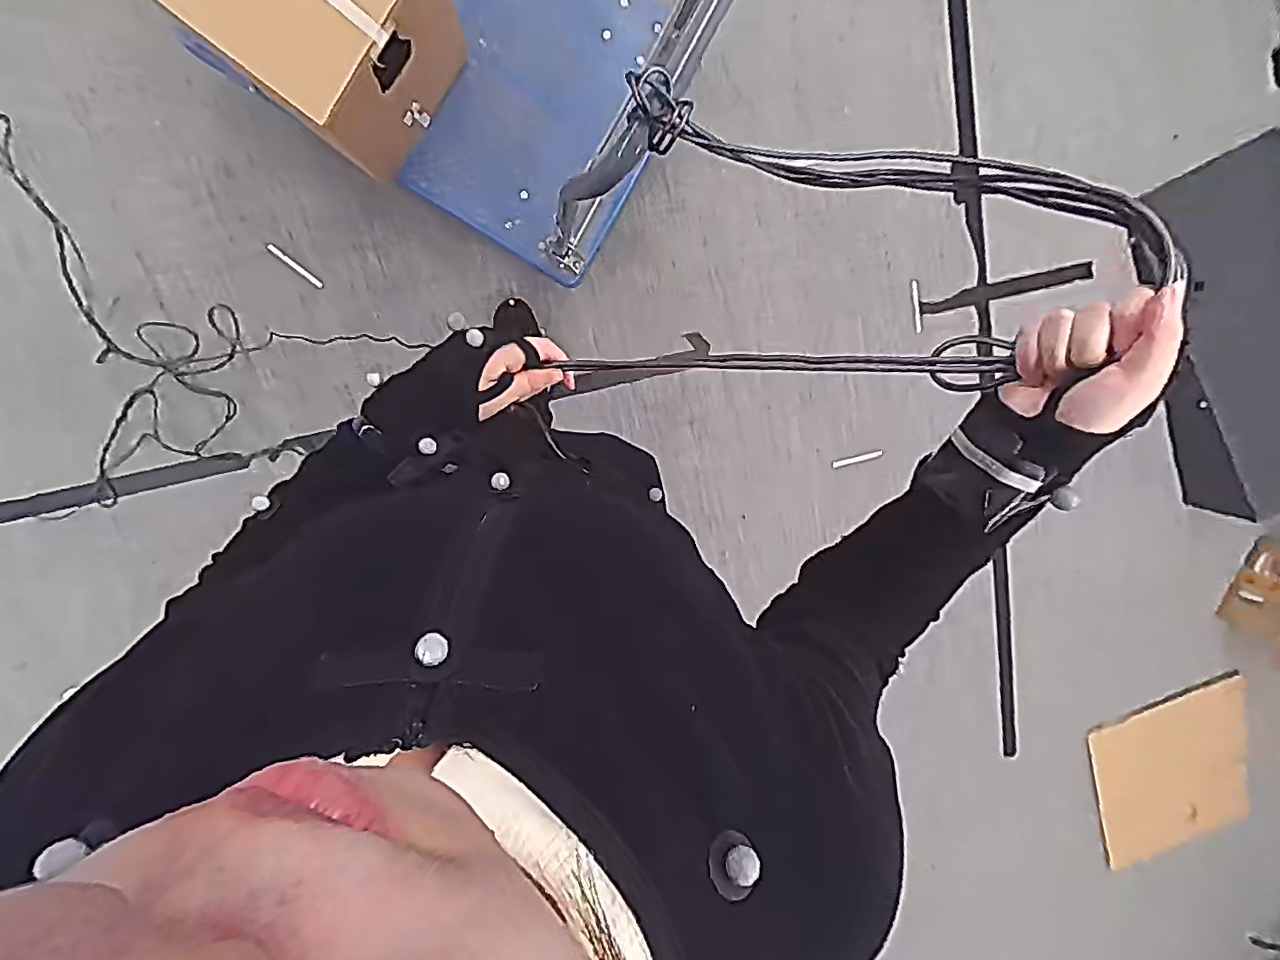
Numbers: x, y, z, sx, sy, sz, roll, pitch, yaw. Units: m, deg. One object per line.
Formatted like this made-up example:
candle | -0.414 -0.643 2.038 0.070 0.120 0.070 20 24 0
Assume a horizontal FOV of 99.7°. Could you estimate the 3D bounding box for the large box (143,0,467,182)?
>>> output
large box | -0.563 -0.794 0.896 0.408 0.320 0.320 35 96 -13
